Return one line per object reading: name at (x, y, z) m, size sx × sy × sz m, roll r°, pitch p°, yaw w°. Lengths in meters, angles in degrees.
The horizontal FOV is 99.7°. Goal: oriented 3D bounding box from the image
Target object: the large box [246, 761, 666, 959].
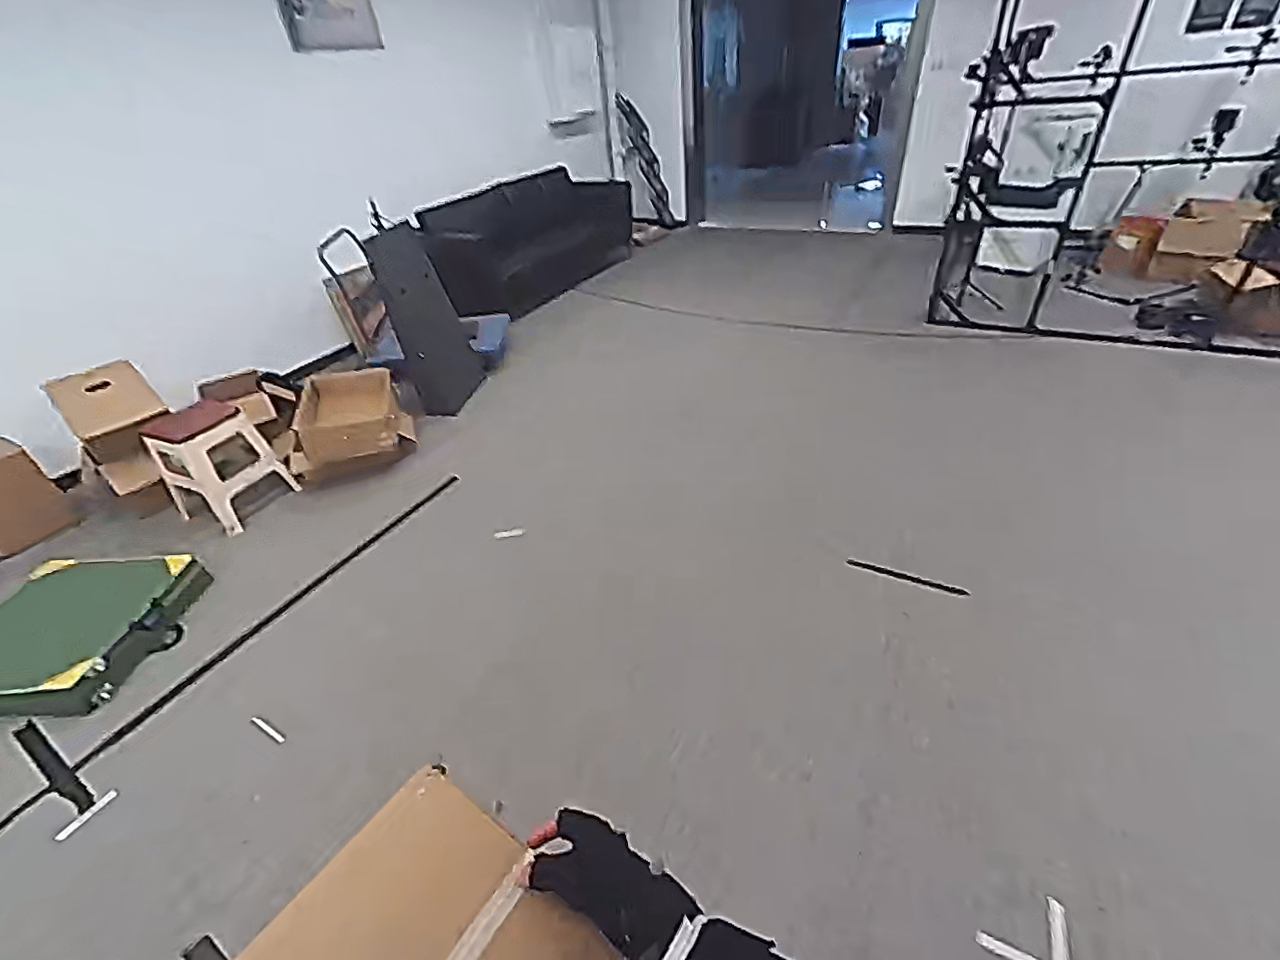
large box at (-0.208, 0.580, 0.491) m, size 0.320 × 0.320 × 0.408 m, roll 24°, pitch 43°, yaw 27°
